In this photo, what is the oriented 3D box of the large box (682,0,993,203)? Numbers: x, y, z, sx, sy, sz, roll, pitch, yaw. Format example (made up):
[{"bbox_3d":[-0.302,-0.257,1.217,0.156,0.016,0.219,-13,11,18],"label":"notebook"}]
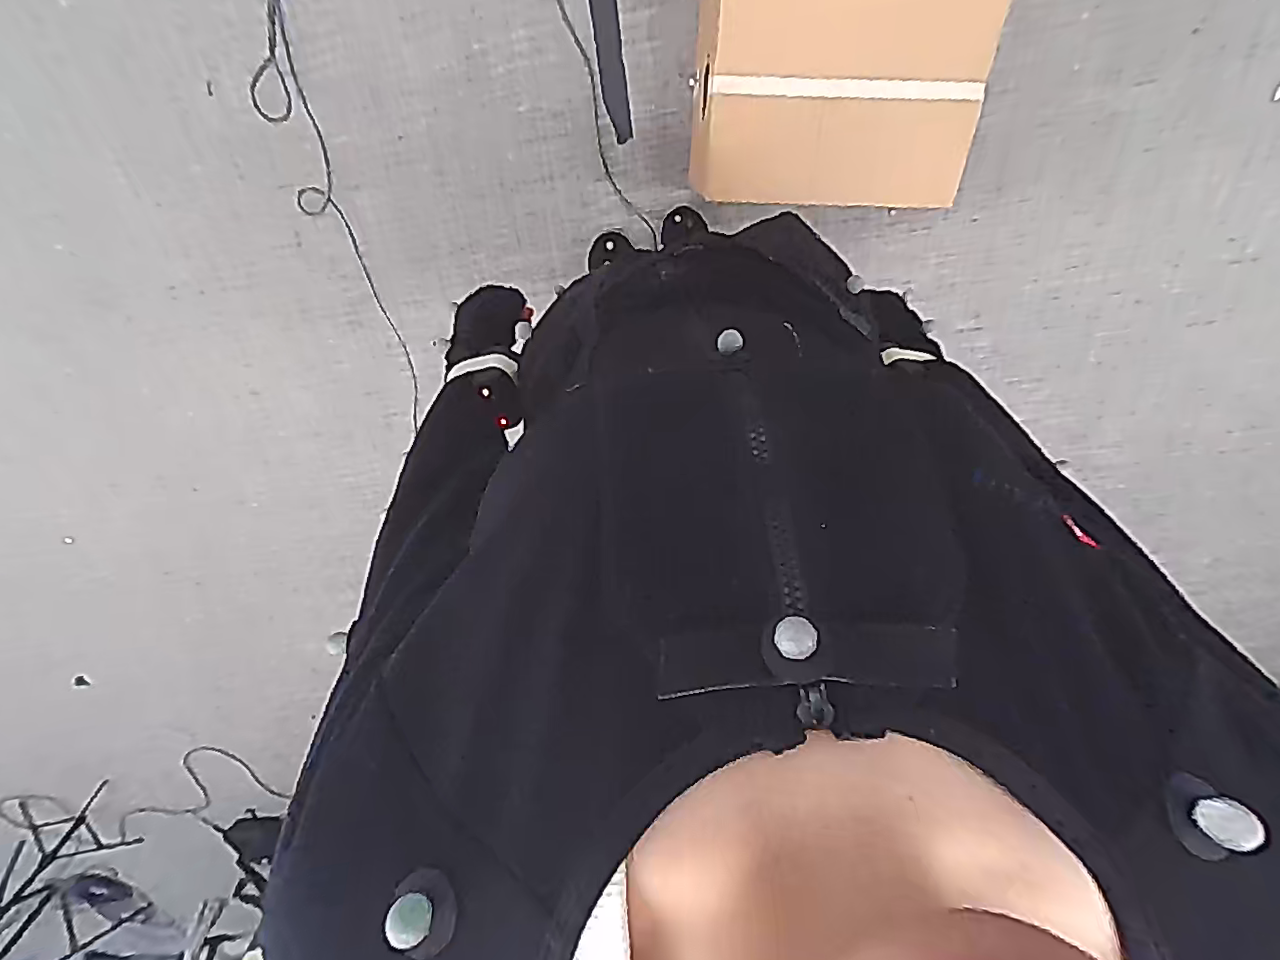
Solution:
[{"bbox_3d":[0.291,-0.666,0.928,0.408,0.320,0.320,1,121,-2],"label":"large box"}]
